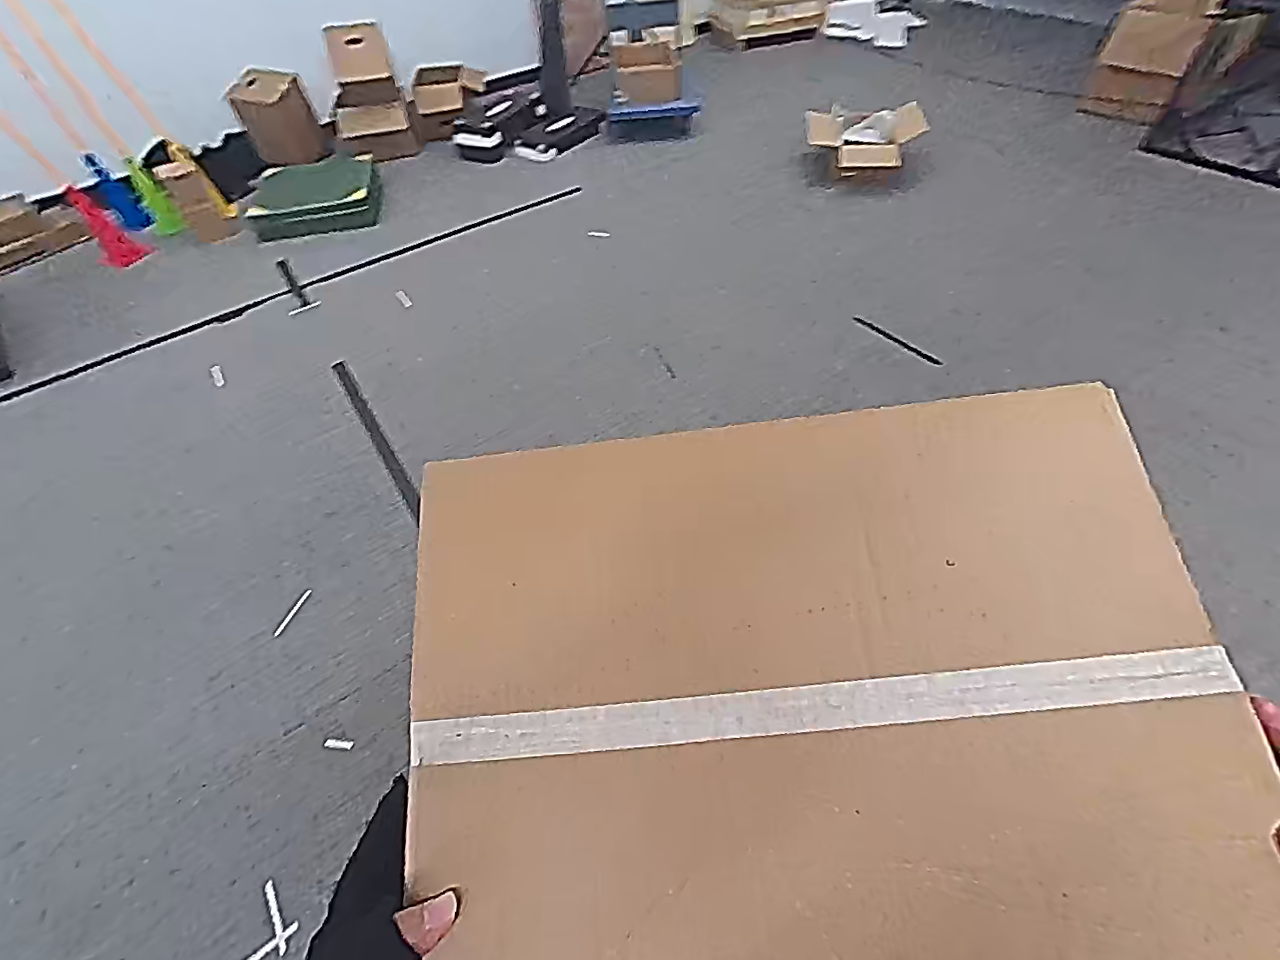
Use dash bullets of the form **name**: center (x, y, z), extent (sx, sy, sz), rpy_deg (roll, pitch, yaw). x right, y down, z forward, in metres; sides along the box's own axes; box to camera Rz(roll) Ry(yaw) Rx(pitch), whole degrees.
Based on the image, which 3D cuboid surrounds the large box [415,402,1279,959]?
- **large box**: center (0.094, 0.171, 0.420), extent (0.408, 0.320, 0.320), rpy_deg (-8, 70, 3)
